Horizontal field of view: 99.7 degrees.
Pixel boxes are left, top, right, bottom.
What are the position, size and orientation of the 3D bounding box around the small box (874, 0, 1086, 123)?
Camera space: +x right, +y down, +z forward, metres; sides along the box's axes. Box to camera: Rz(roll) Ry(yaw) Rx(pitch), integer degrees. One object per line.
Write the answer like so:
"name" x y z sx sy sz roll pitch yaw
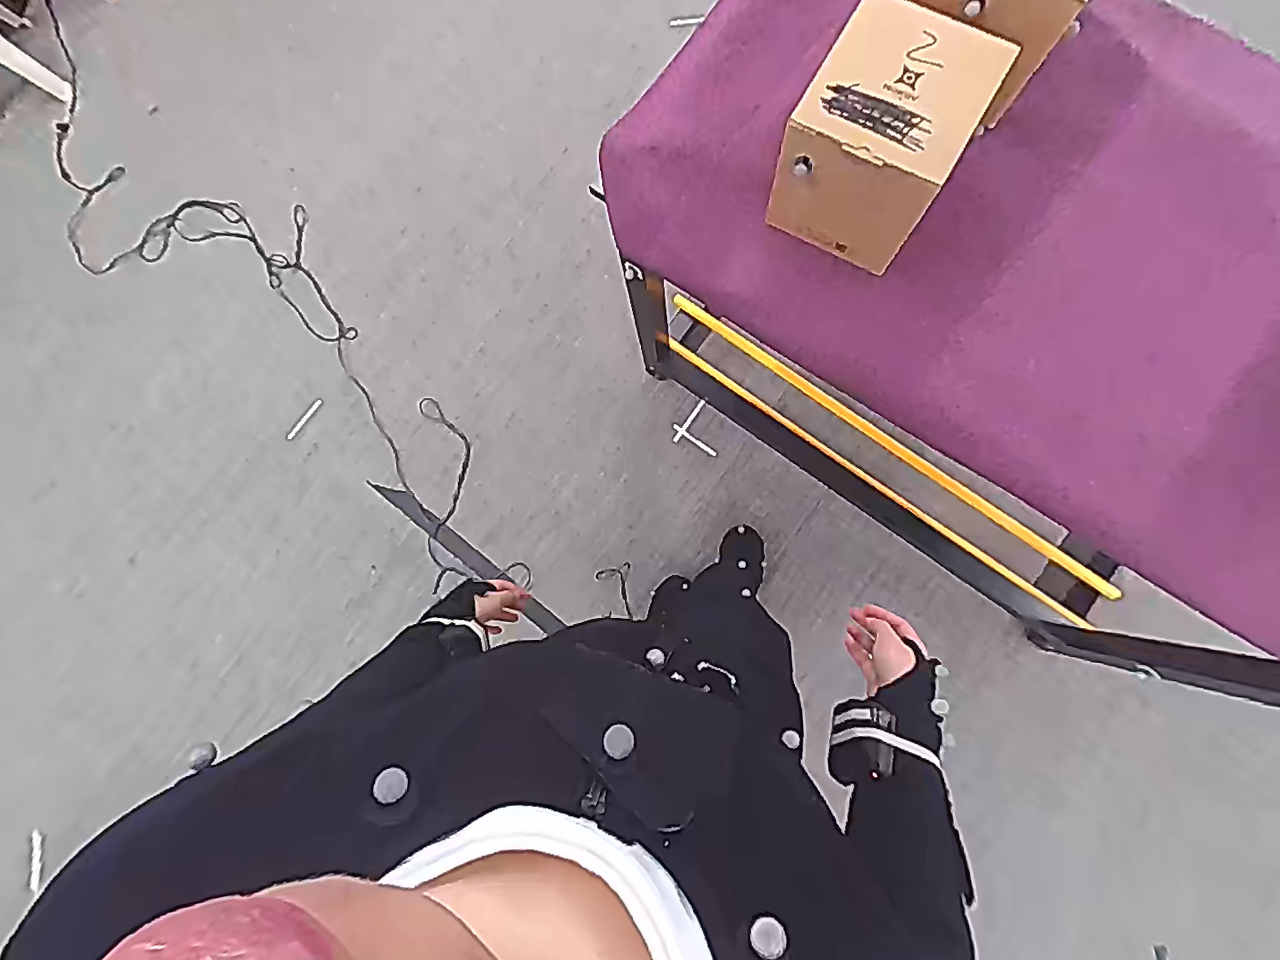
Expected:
"small box" 0.417 -0.572 0.638 0.179 0.176 0.168 33 86 8
